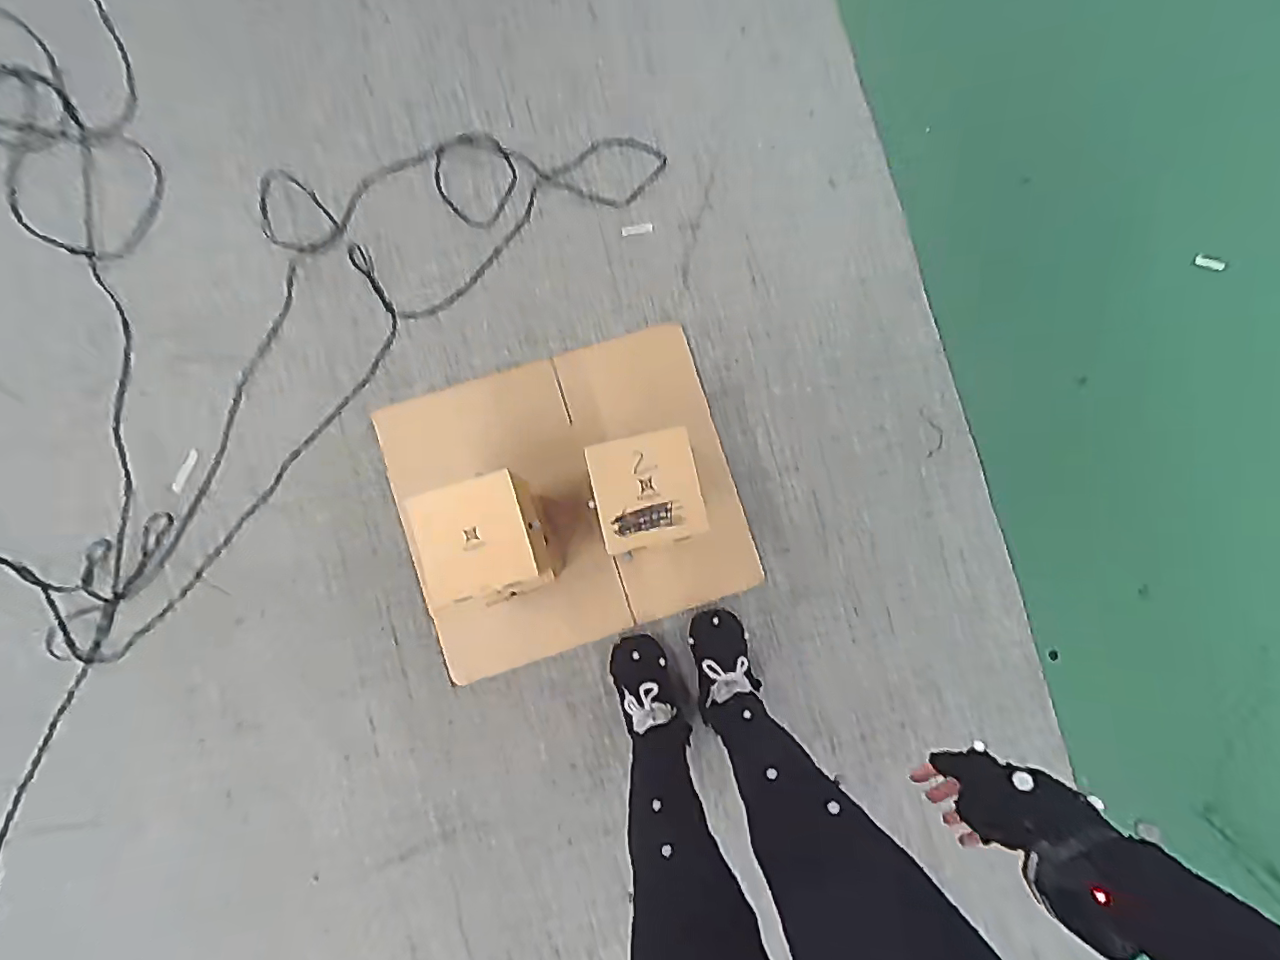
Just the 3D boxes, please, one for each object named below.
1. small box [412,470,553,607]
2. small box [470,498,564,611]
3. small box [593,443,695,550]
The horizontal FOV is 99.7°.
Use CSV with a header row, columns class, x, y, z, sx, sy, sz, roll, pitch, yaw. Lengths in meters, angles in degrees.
class,x,y,z,sx,sy,sz,roll,pitch,yaw
small box,-0.253,0.096,0.904,0.168,0.176,0.179,-17,87,-4
small box,-0.256,0.136,1.065,0.168,0.176,0.179,-20,87,-4
small box,0.003,0.036,1.086,0.168,0.176,0.179,-13,87,-3
